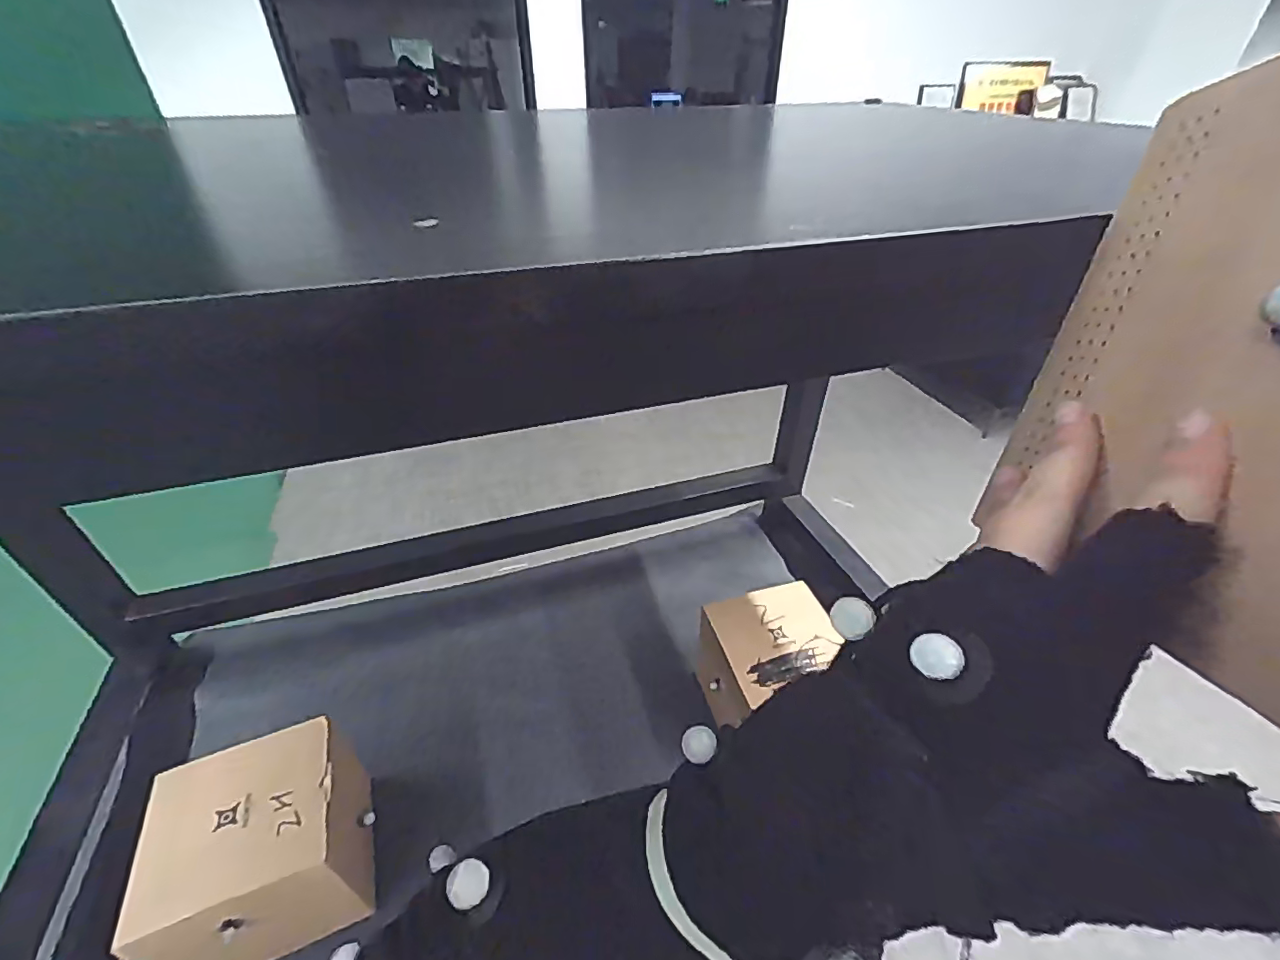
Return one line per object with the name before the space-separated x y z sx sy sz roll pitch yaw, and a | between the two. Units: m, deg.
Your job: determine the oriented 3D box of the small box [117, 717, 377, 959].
small box | -0.418 0.413 0.613 0.179 0.176 0.168 -14 40 -19
